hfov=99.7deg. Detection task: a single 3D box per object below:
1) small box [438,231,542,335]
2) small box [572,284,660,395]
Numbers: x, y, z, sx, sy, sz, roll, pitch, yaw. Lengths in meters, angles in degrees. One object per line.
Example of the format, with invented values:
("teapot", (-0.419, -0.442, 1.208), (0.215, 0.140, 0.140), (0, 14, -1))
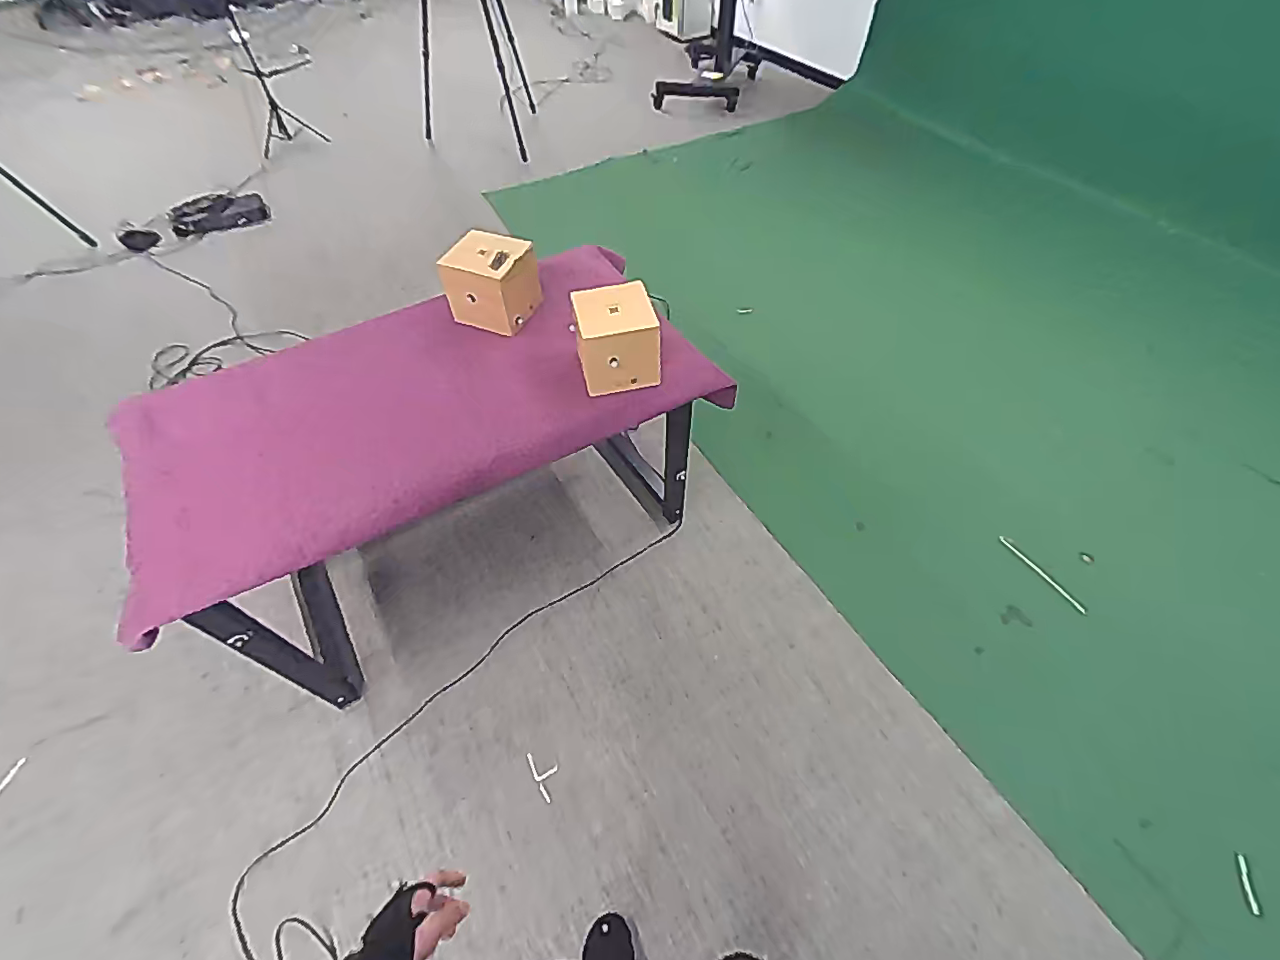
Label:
("small box", (-0.363, -0.486, 1.350), (0.179, 0.176, 0.168), (18, 56, 13))
("small box", (-0.051, -0.309, 1.215), (0.168, 0.176, 0.179), (-11, 52, -7))
